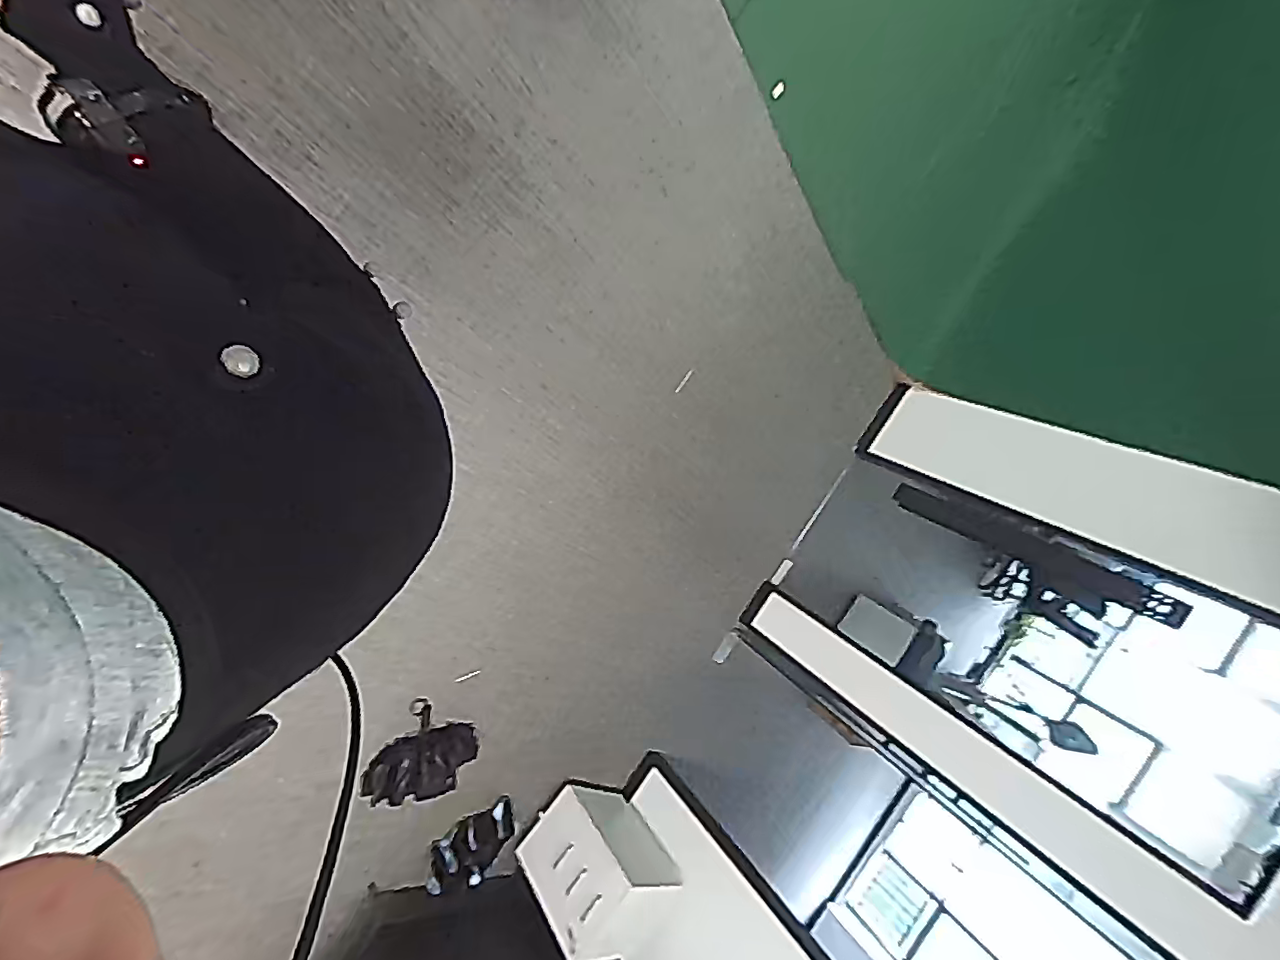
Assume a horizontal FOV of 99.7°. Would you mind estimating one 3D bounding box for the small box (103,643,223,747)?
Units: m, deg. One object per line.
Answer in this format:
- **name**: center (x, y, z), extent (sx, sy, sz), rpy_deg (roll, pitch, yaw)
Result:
- **small box**: center (-1.181, 0.530, 1.341), extent (0.168, 0.176, 0.179), rpy_deg (33, 89, -46)
